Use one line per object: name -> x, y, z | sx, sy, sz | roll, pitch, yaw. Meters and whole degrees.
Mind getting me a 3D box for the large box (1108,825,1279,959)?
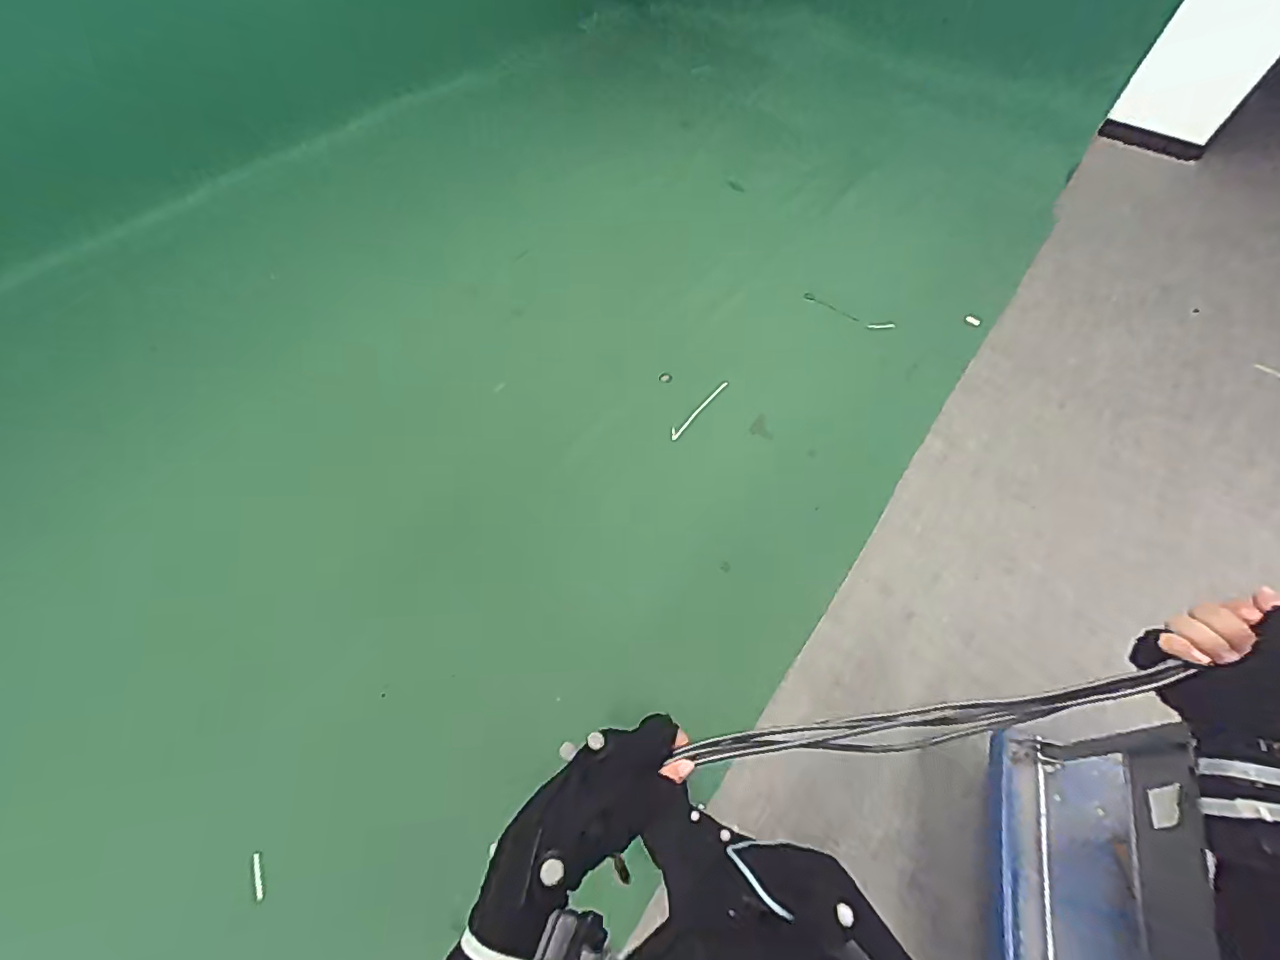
large box -> 1.072, 0.780, 0.832 | 0.320, 0.320, 0.408 | -2, 57, -2
